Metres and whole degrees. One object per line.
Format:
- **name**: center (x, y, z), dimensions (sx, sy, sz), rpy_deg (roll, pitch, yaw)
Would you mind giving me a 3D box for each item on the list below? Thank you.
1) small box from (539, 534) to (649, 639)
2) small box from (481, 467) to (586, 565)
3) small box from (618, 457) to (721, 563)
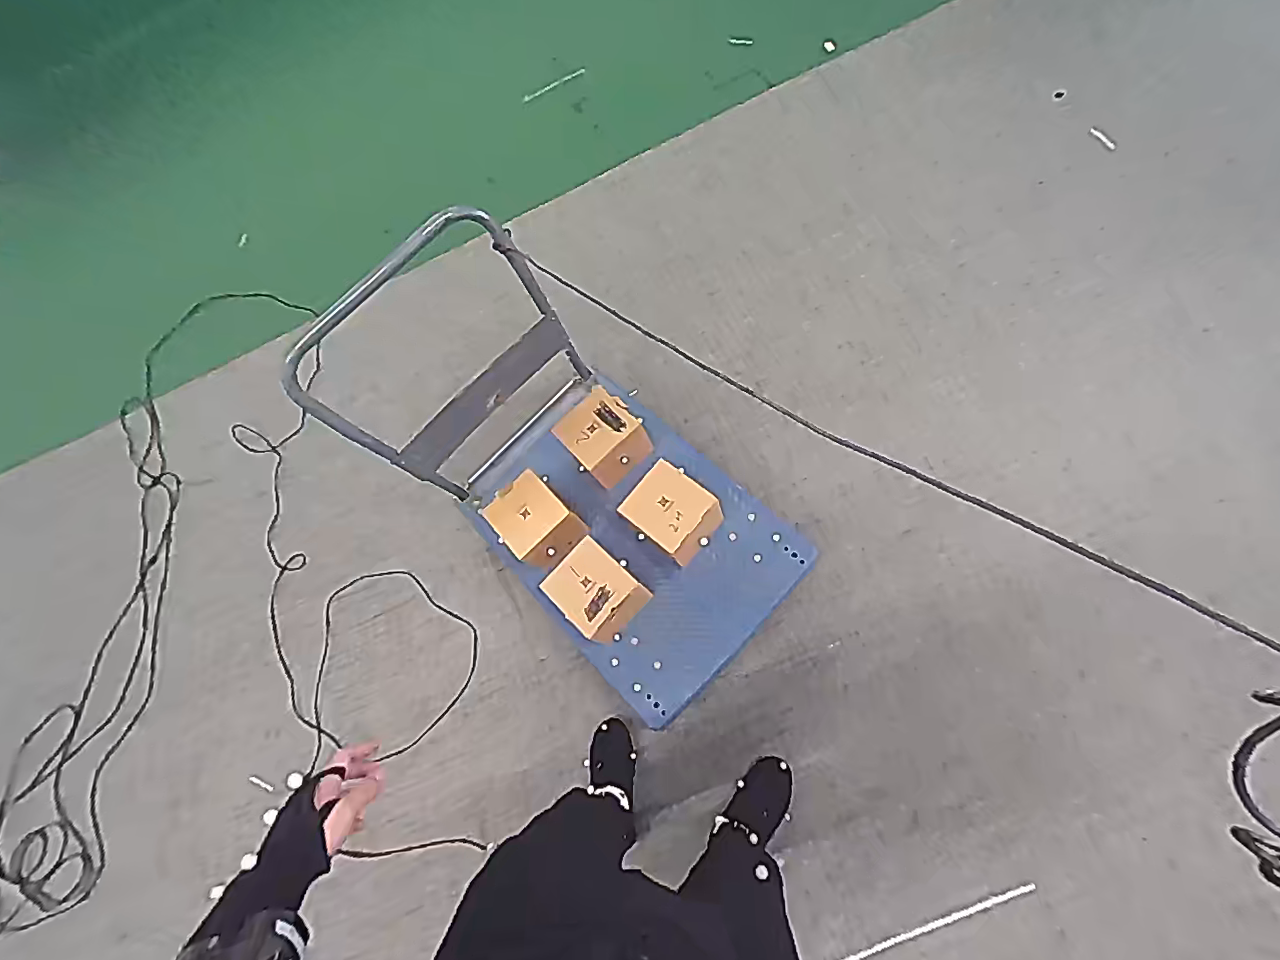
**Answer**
- **small box**: center (-0.100, 0.259, 1.282), dimensions (0.179, 0.176, 0.168), rpy_deg (41, 82, 24)
- **small box**: center (-0.264, 0.101, 1.384), dimensions (0.168, 0.176, 0.179), rpy_deg (-43, 66, -5)
- **small box**: center (0.077, 0.080, 1.309), dimensions (0.179, 0.176, 0.168), rpy_deg (38, 83, 23)
